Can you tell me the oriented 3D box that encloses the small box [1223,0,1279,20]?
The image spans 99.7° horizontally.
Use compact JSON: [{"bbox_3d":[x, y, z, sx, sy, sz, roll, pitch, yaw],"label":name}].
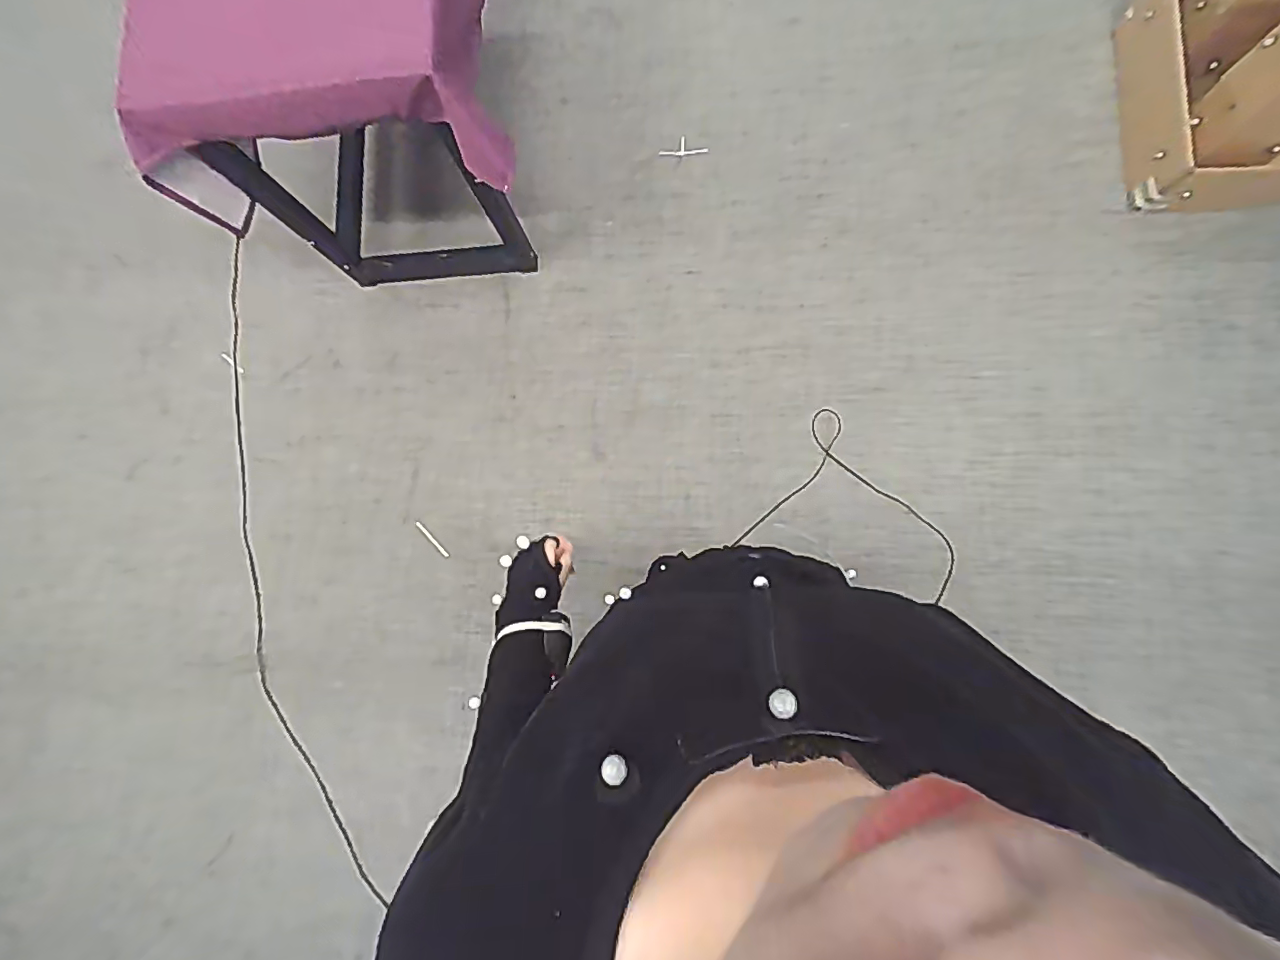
[{"bbox_3d":[1.542,-1.234,1.271,0.179,0.176,0.168,7,84,5],"label":"small box"}]
